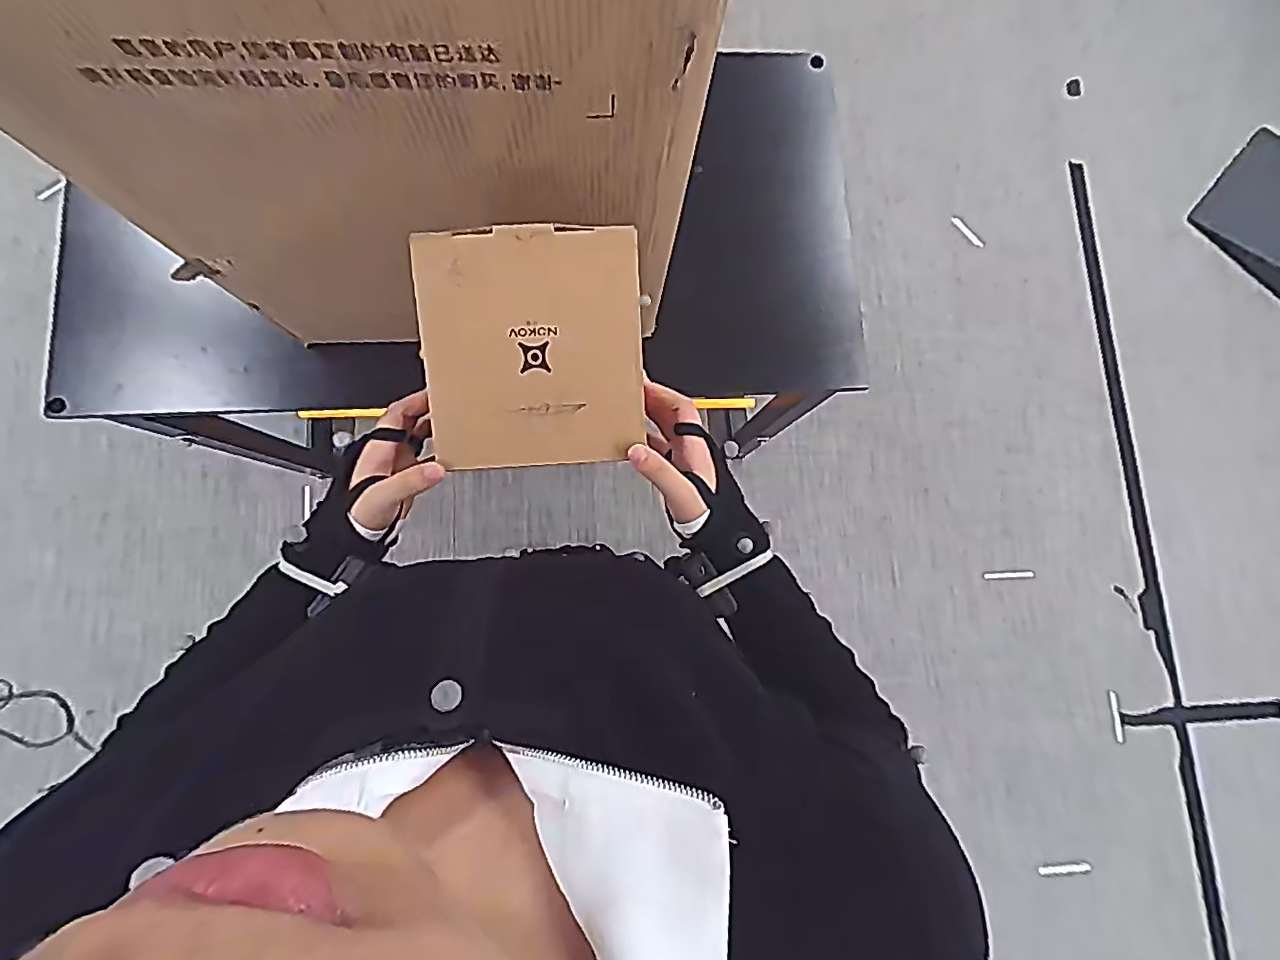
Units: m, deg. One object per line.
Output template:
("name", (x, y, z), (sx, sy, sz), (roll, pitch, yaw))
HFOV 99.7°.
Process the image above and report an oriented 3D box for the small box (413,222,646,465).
("small box", (-0.086, -0.113, 0.484), (0.168, 0.176, 0.179), (-4, 101, -4))
